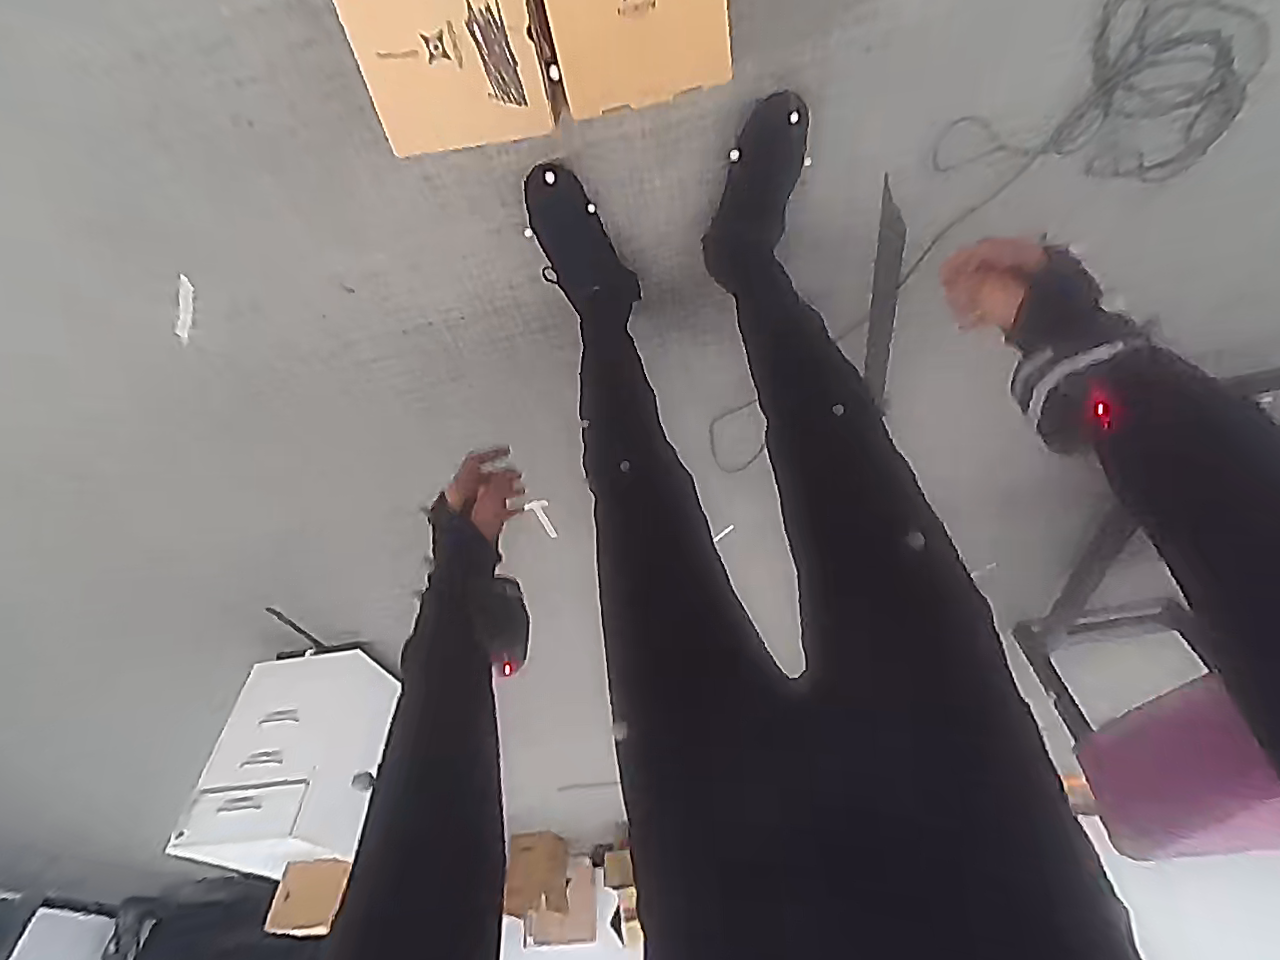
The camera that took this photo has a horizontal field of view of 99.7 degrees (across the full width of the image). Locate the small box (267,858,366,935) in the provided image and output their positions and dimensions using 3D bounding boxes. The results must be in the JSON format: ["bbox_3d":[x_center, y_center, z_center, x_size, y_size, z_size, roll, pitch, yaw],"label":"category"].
[{"bbox_3d":[-0.987,1.285,1.668,0.179,0.176,0.168,-8,136,6],"label":"small box"}]
